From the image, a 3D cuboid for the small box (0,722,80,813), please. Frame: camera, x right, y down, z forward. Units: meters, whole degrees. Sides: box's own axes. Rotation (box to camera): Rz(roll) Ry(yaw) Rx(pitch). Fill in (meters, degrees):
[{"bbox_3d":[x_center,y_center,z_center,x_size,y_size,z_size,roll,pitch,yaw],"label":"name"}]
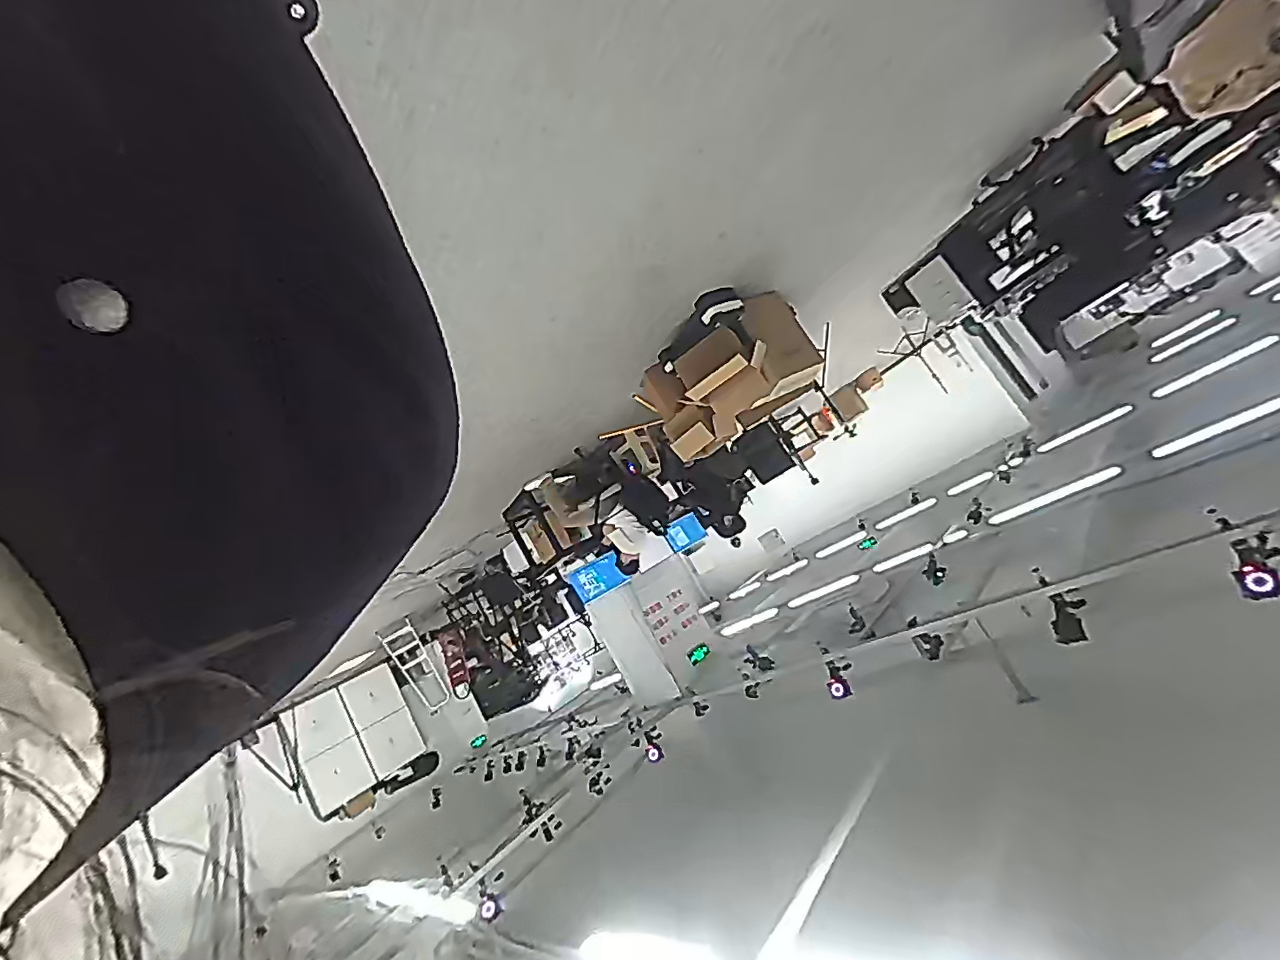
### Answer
[{"bbox_3d":[-1.806,0.841,1.589,0.179,0.176,0.168,-20,164,-45],"label":"small box"}]
